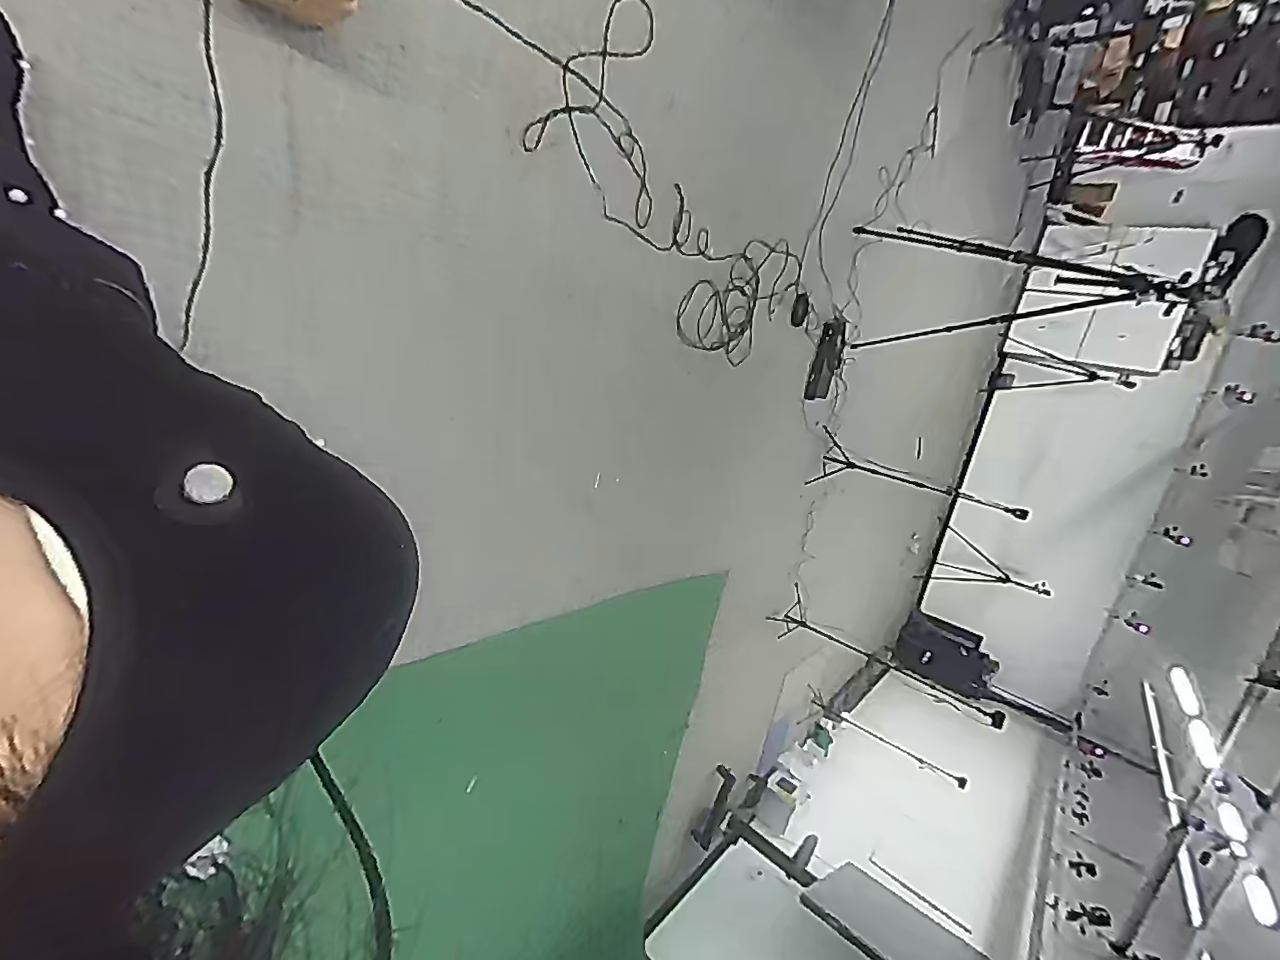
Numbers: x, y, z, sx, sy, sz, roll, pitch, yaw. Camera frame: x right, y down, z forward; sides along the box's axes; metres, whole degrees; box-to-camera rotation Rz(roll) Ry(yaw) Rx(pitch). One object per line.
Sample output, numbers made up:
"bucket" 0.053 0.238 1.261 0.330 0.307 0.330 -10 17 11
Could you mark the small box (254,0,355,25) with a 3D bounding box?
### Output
"small box" -0.665 -1.001 1.017 0.179 0.176 0.168 -14 118 -47
